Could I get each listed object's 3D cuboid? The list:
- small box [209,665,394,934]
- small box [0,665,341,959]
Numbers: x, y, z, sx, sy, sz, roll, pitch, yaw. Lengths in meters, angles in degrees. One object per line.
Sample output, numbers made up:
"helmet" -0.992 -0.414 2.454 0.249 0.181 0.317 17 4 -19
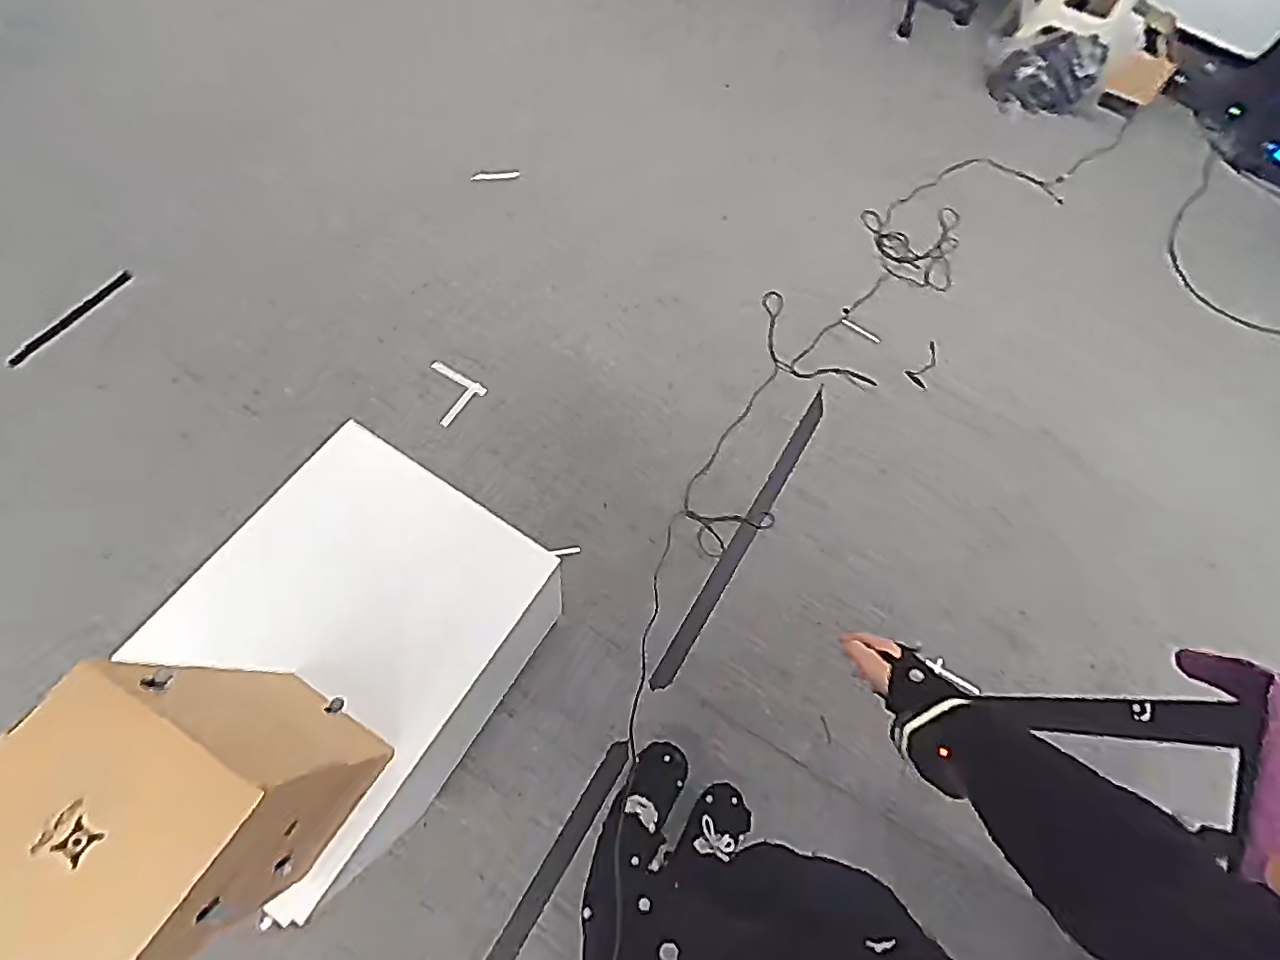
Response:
"small box" -0.409 0.326 0.586 0.179 0.176 0.168 32 68 6
"small box" -0.387 0.268 0.435 0.179 0.176 0.168 31 68 5
